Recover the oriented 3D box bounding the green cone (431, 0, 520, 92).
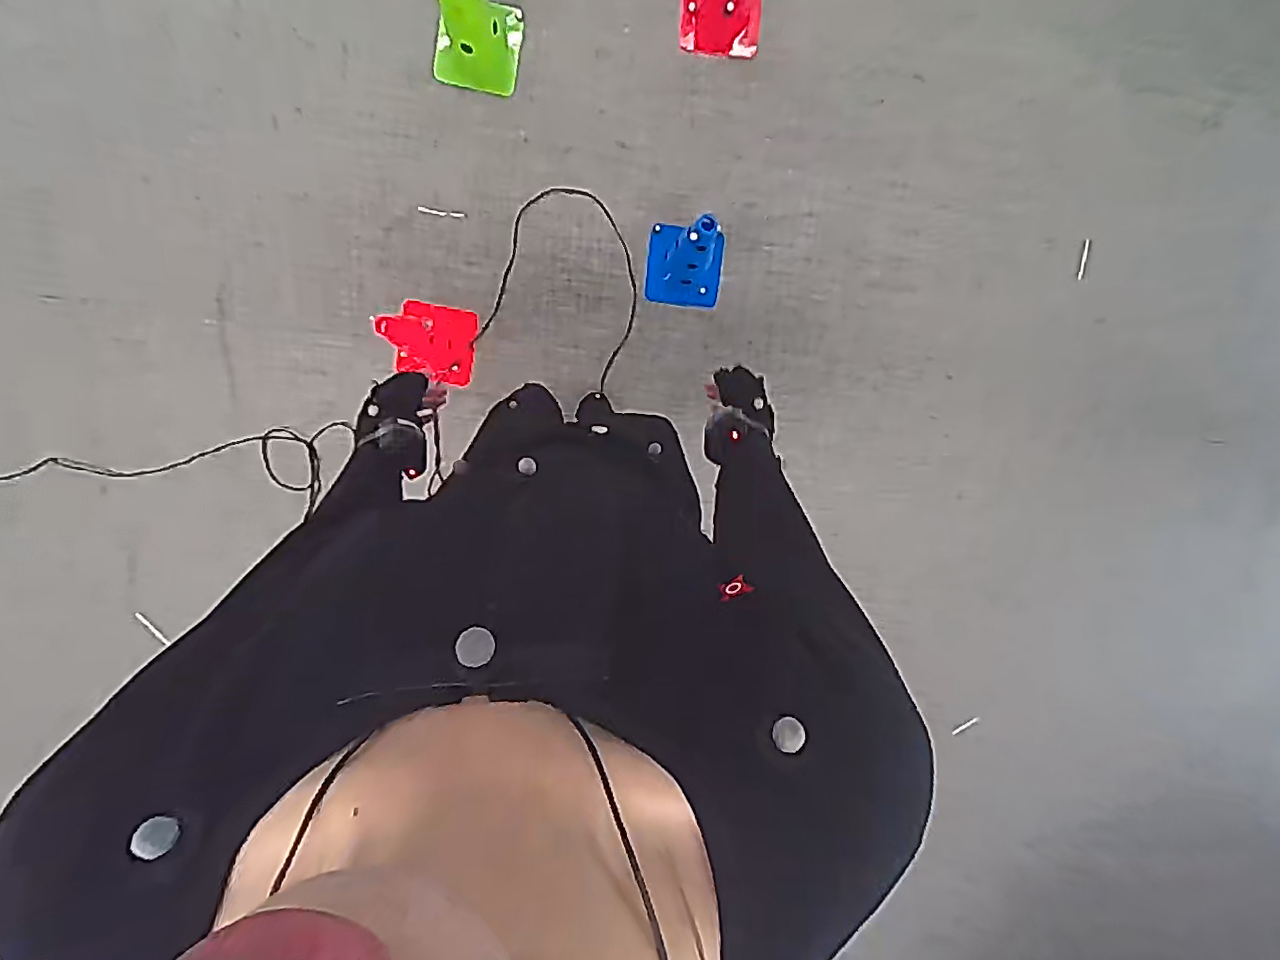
[{"bbox_3d":[-0.396,-1.049,1.157,0.200,0.368,0.202,9,99,-4],"label":"green cone"}]

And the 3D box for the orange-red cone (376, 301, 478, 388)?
[{"bbox_3d":[-0.526,-0.335,1.256,0.198,0.360,0.199,11,96,-6],"label":"orange-red cone"}]
